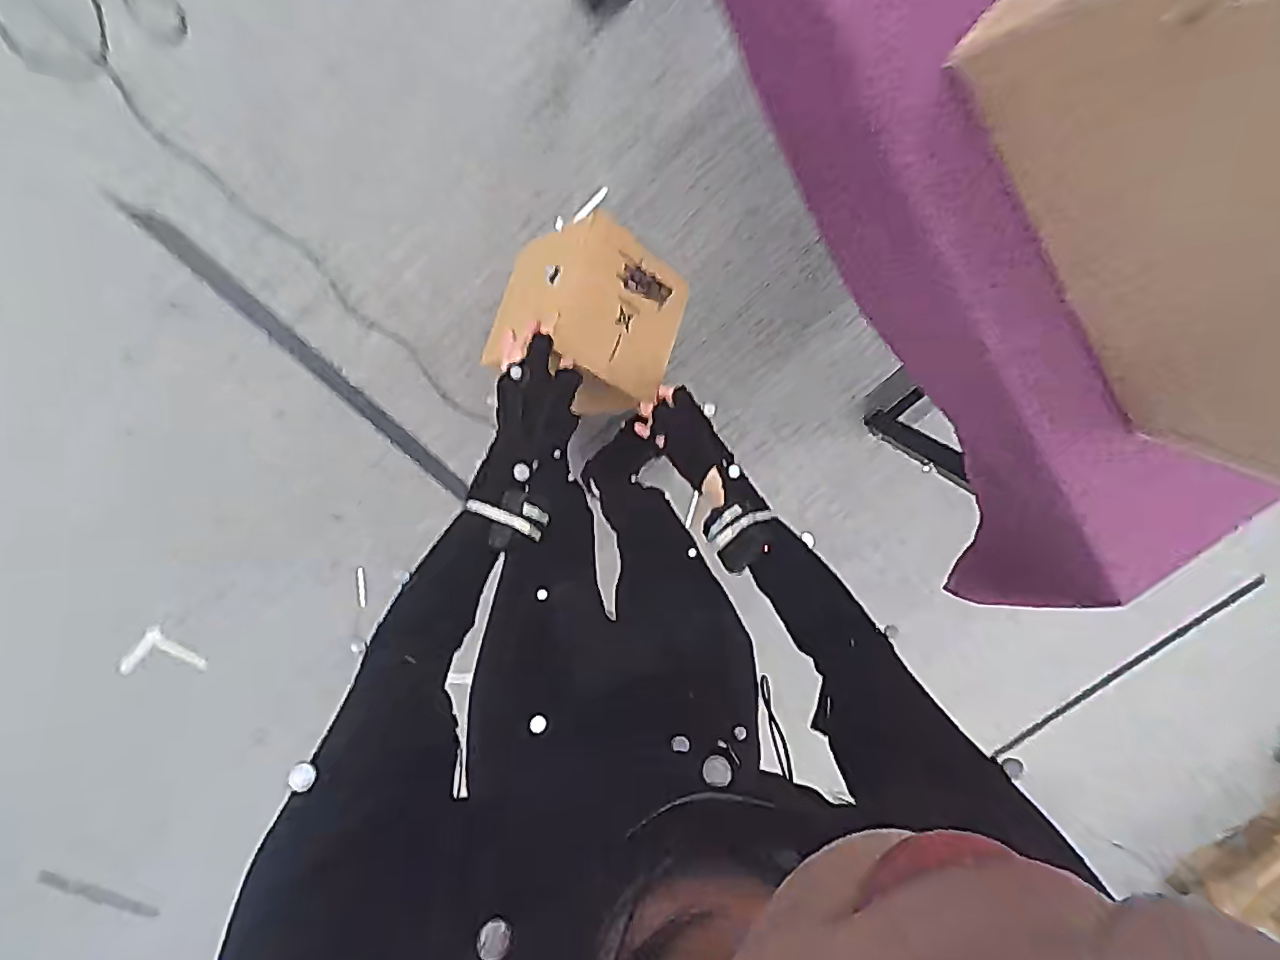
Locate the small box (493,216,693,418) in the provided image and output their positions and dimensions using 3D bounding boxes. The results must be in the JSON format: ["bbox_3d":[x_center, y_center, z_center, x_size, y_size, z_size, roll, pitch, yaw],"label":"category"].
[{"bbox_3d":[-0.063,-0.192,0.693,0.168,0.176,0.179,26,76,-40],"label":"small box"}]
